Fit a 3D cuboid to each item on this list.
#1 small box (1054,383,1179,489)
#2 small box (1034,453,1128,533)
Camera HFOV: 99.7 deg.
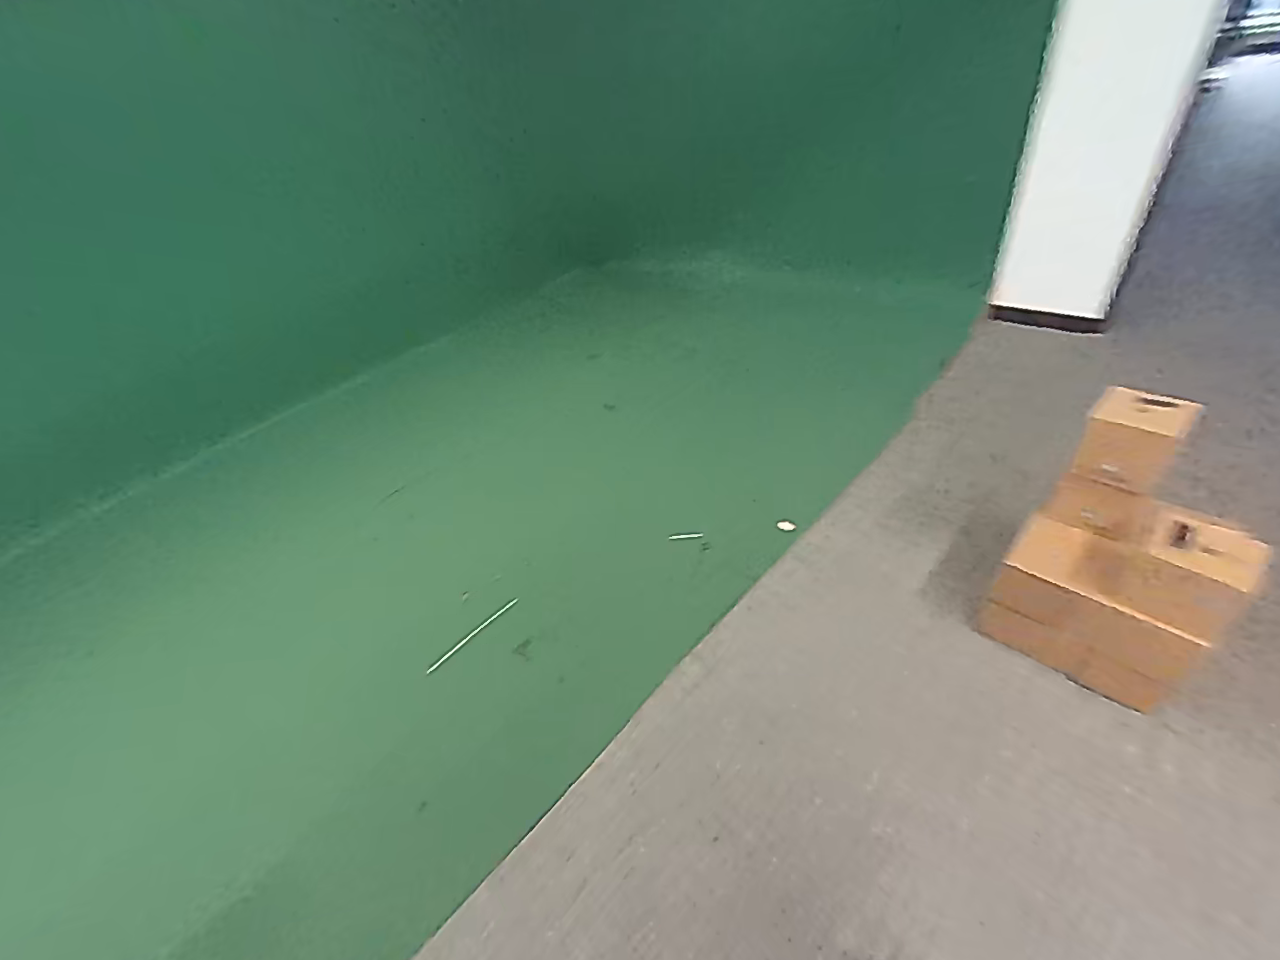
[{"bbox_3d":[1.159,-0.110,1.325,0.179,0.176,0.168,-35,43,-28],"label":"small box"},{"bbox_3d":[1.188,0.008,1.438,0.179,0.176,0.168,-36,44,-30],"label":"small box"}]
